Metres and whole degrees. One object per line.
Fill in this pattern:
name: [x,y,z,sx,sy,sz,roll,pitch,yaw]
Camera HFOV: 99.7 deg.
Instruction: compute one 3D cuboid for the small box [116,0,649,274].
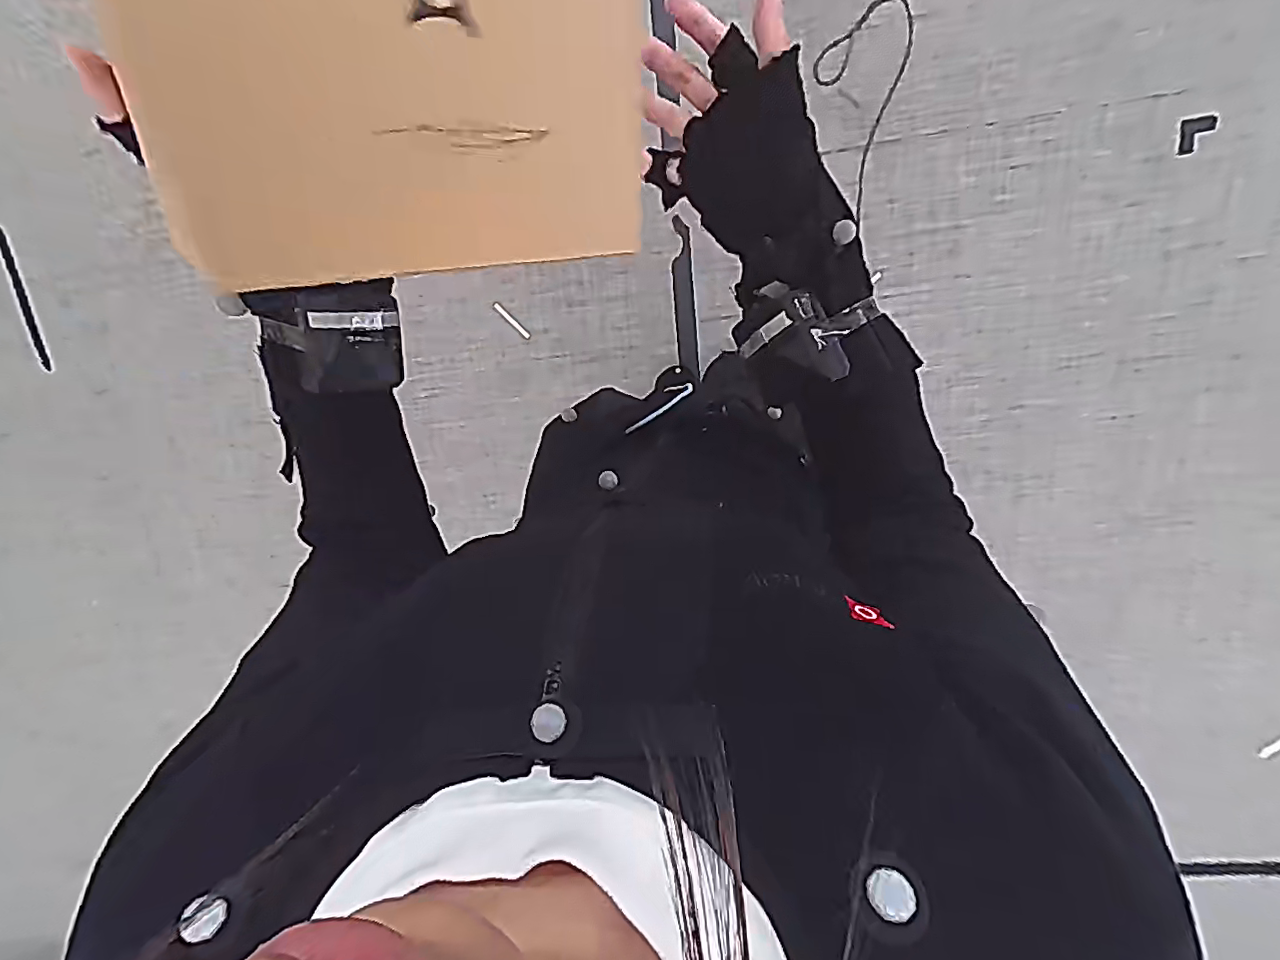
small box: [-0.112,-0.193,0.233,0.176,0.168,0.179,29,129,41]
